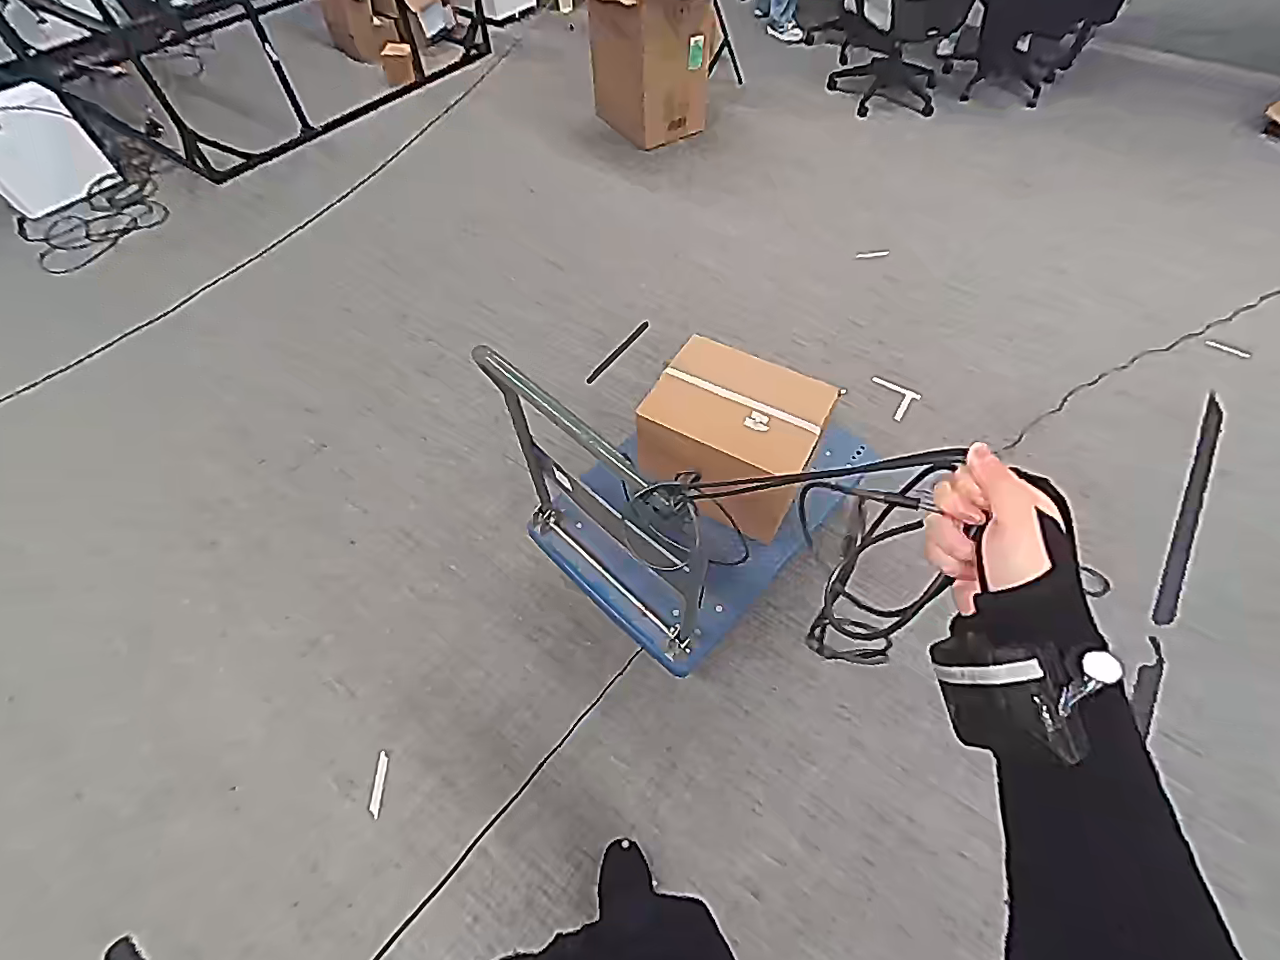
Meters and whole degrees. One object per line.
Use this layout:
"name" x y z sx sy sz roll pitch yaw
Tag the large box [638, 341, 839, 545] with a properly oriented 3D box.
"large box" 0.238 -0.095 1.417 0.408 0.320 0.320 26 61 16
